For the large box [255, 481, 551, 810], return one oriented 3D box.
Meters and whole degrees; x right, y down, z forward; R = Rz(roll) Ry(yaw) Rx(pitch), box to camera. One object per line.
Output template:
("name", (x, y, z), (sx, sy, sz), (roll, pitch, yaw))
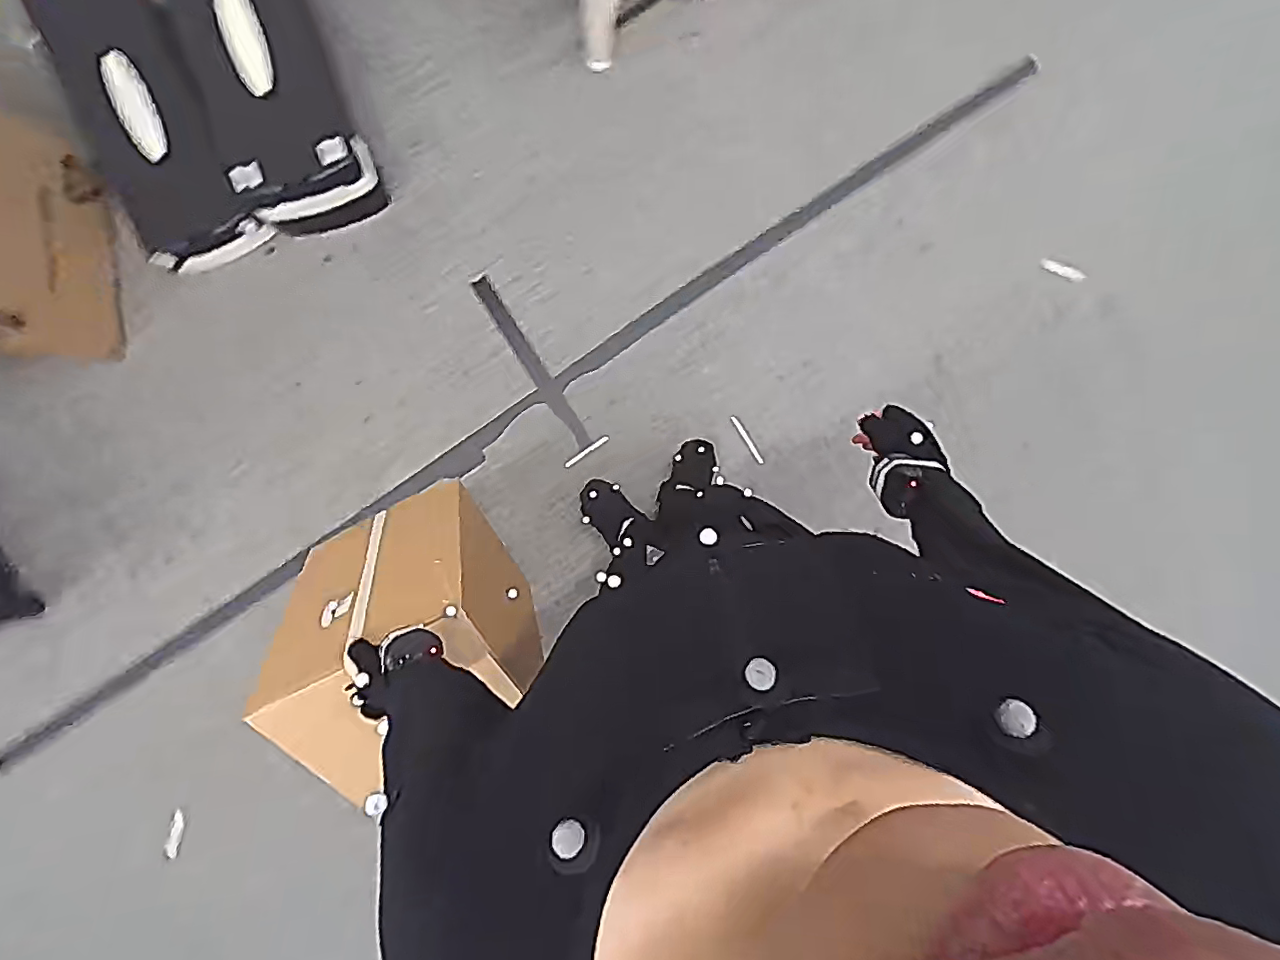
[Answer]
("large box", (-0.387, 0.268, 0.969), (0.320, 0.408, 0.320), (-27, 122, -5))
